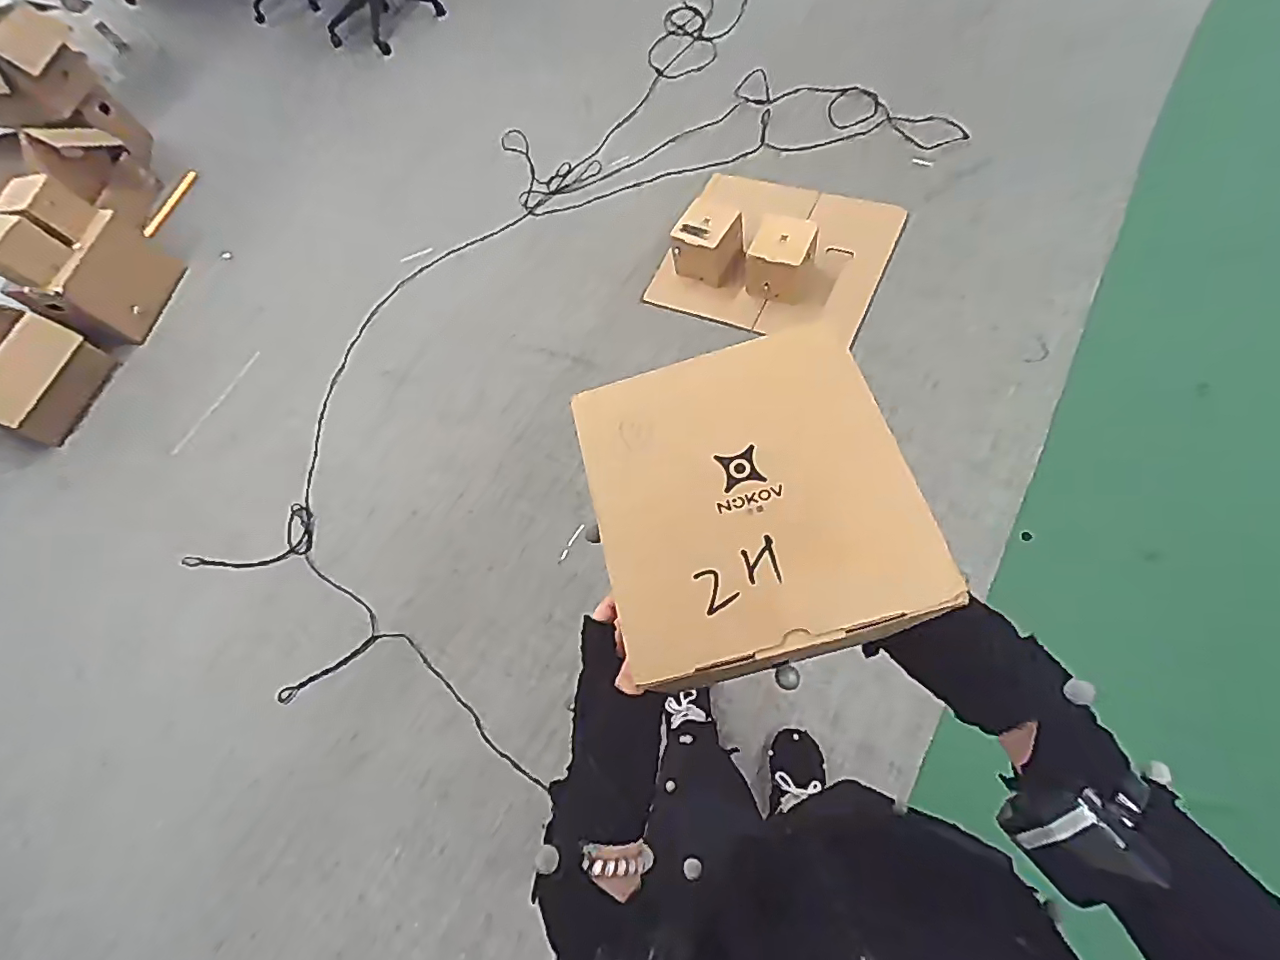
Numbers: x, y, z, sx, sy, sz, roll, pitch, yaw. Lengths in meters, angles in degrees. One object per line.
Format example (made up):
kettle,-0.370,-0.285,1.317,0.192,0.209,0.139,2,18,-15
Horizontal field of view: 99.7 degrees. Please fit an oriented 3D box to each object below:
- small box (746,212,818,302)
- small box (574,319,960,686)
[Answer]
small box,0.434,-0.689,1.676,0.168,0.176,0.179,21,74,18
small box,0.068,0.030,0.366,0.168,0.176,0.179,-17,67,4
